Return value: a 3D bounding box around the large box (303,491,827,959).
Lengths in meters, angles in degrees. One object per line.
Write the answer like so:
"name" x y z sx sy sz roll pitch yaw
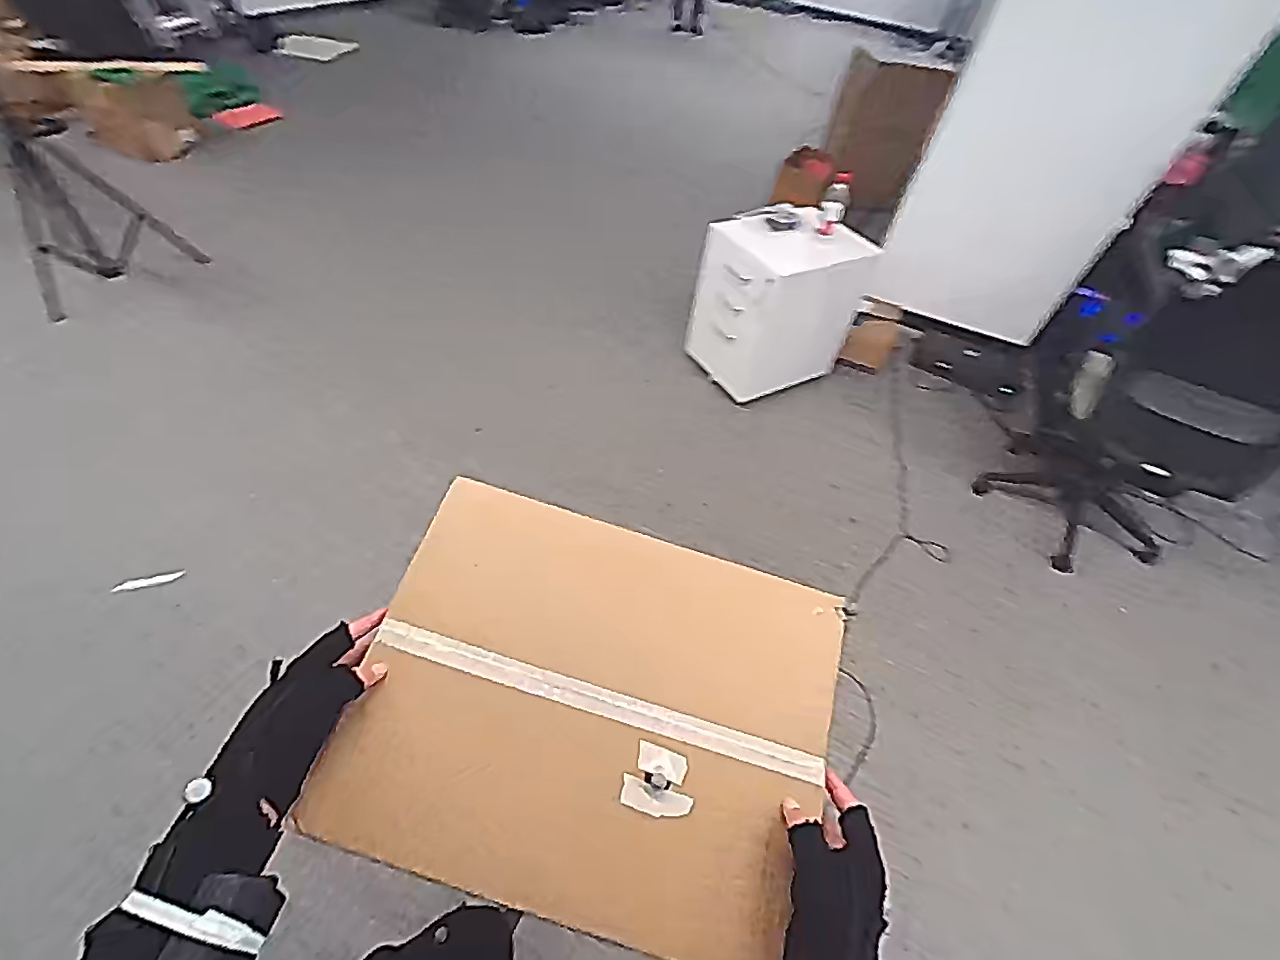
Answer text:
"large box" -0.056 0.256 0.619 0.408 0.320 0.320 17 65 1
